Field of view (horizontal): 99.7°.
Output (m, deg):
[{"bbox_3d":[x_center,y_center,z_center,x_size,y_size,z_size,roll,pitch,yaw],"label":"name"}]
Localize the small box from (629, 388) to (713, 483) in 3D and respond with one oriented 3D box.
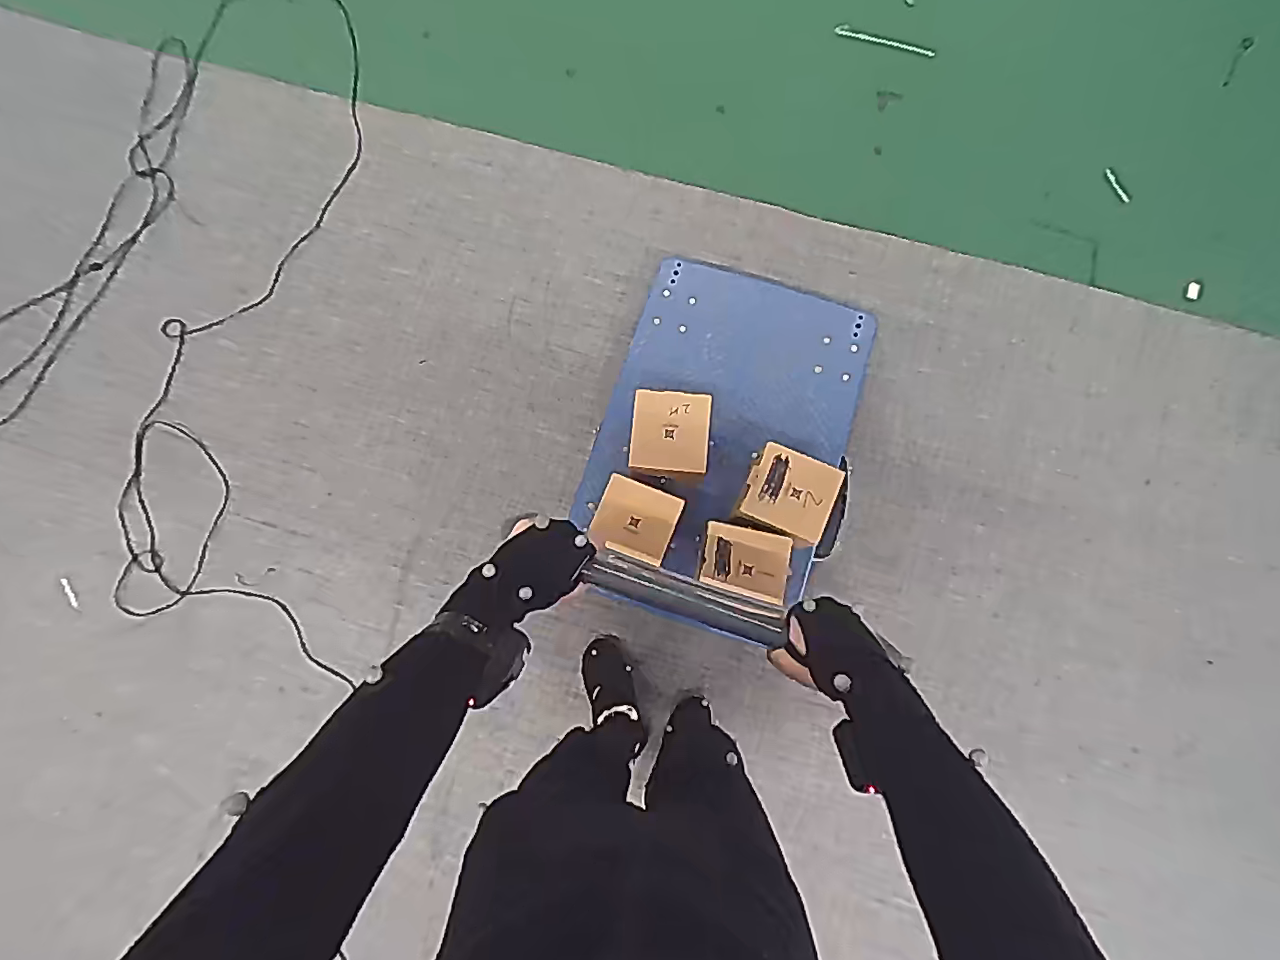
[{"bbox_3d":[0.070,-0.093,1.228,0.168,0.176,0.179,6,81,2],"label":"small box"}]
